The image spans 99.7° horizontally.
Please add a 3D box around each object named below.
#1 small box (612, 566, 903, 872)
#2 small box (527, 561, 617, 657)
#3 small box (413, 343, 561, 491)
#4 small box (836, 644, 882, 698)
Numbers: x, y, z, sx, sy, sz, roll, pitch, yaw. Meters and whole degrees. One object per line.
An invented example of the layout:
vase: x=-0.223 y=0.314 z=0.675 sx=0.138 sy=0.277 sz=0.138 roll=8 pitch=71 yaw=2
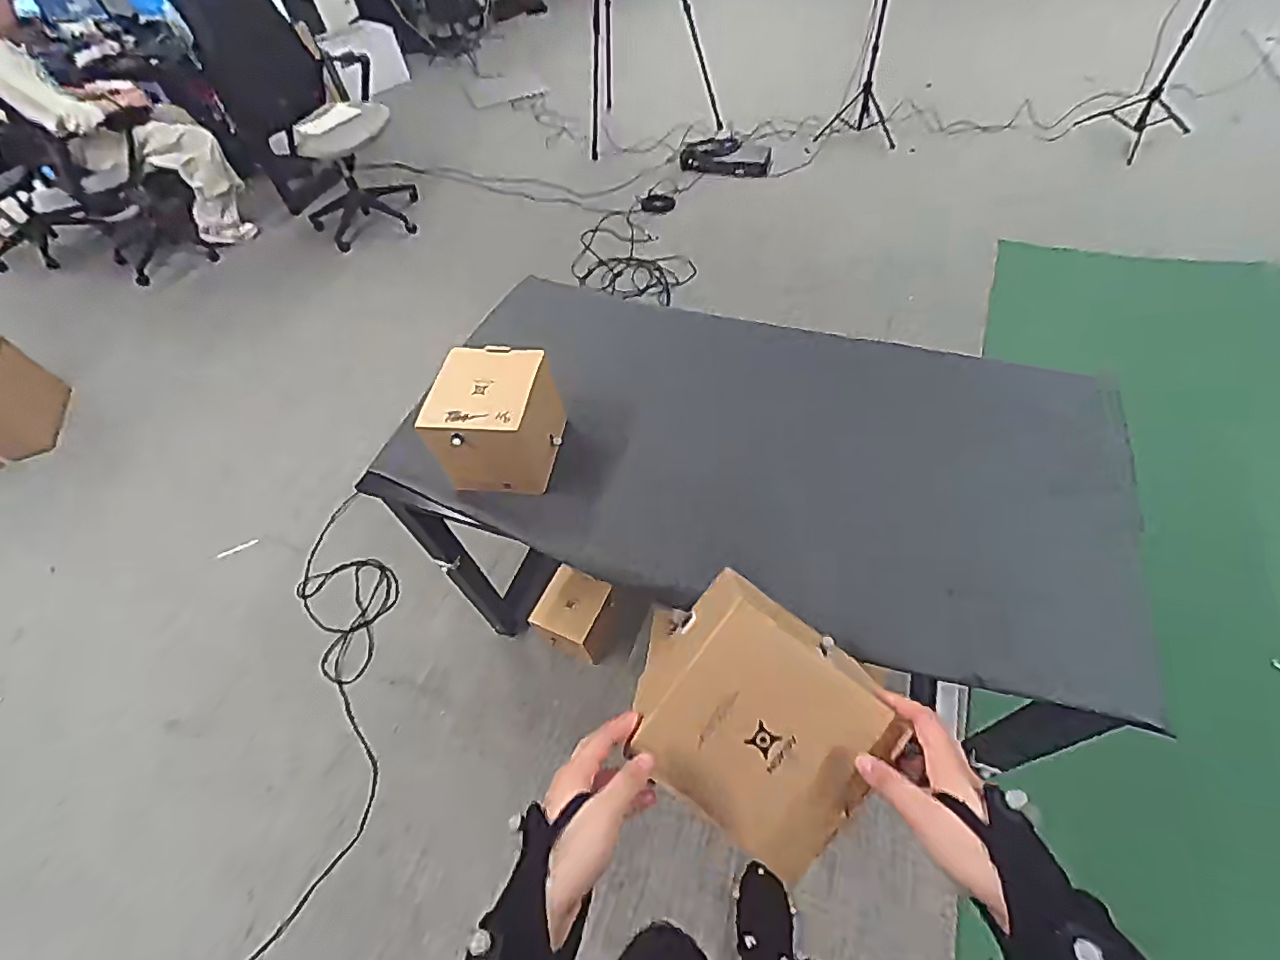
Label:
small box: x=0.099 y=0.201 z=0.514 sx=0.179 sy=0.176 sz=0.168 roll=36 pitch=93 yaw=3
small box: x=-0.174 y=0.354 z=1.467 sx=0.168 sy=0.176 sz=0.179 roll=18 pitch=58 yaw=19
small box: x=-0.238 y=-0.105 z=0.900 sx=0.168 sy=0.176 sz=0.179 roll=4 pitch=55 yaw=10
small box: x=0.461 y=0.501 z=1.277 sx=0.168 sy=0.176 sz=0.179 roll=11 pitch=56 yaw=14
